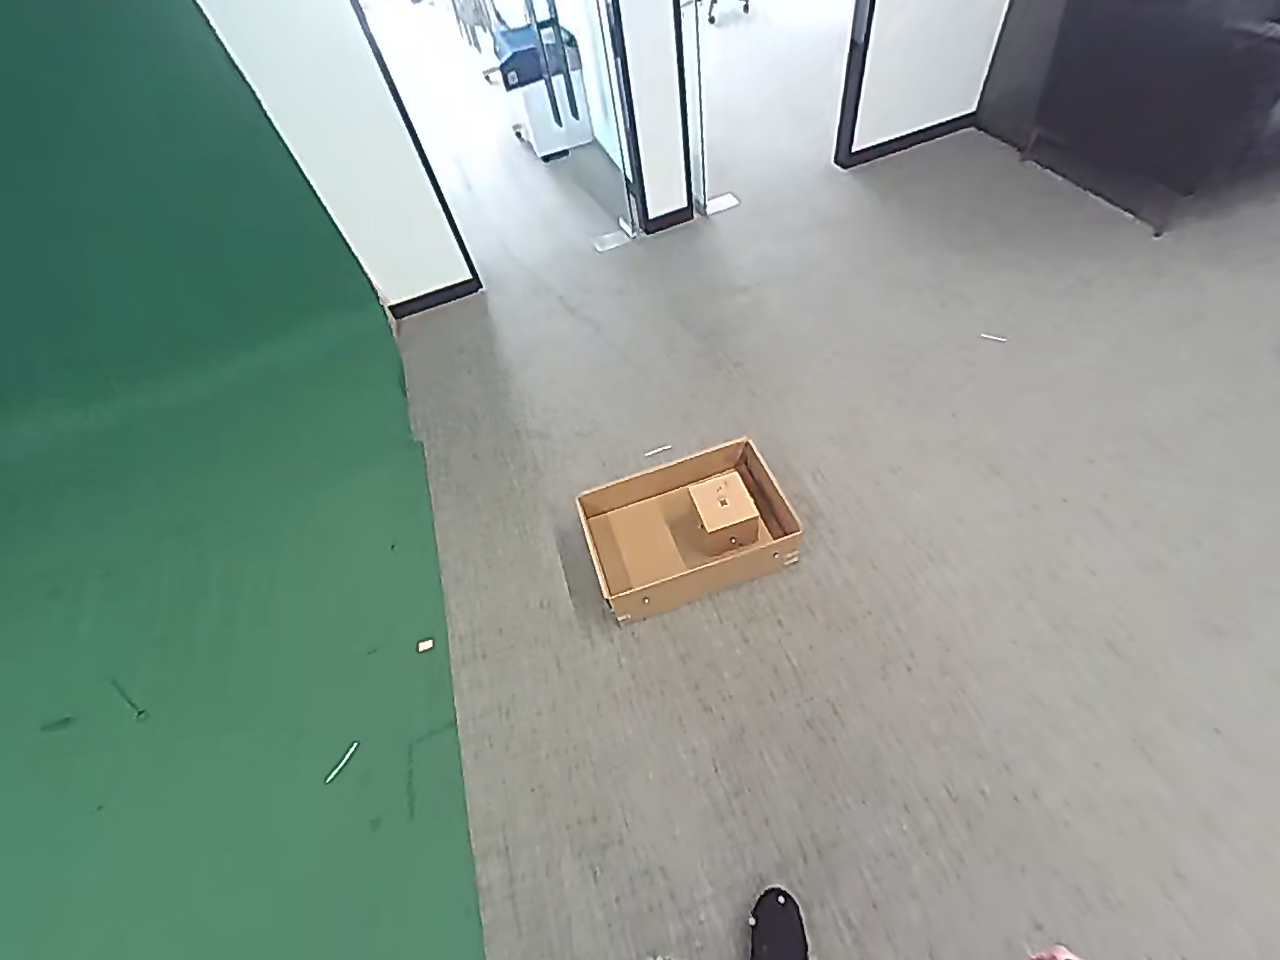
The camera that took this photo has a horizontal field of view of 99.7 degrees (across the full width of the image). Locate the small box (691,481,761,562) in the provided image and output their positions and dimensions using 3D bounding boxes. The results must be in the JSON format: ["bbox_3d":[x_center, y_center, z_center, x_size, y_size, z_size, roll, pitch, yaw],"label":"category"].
[{"bbox_3d":[0.268,0.137,1.690,0.168,0.176,0.179,-18,53,-3],"label":"small box"}]
